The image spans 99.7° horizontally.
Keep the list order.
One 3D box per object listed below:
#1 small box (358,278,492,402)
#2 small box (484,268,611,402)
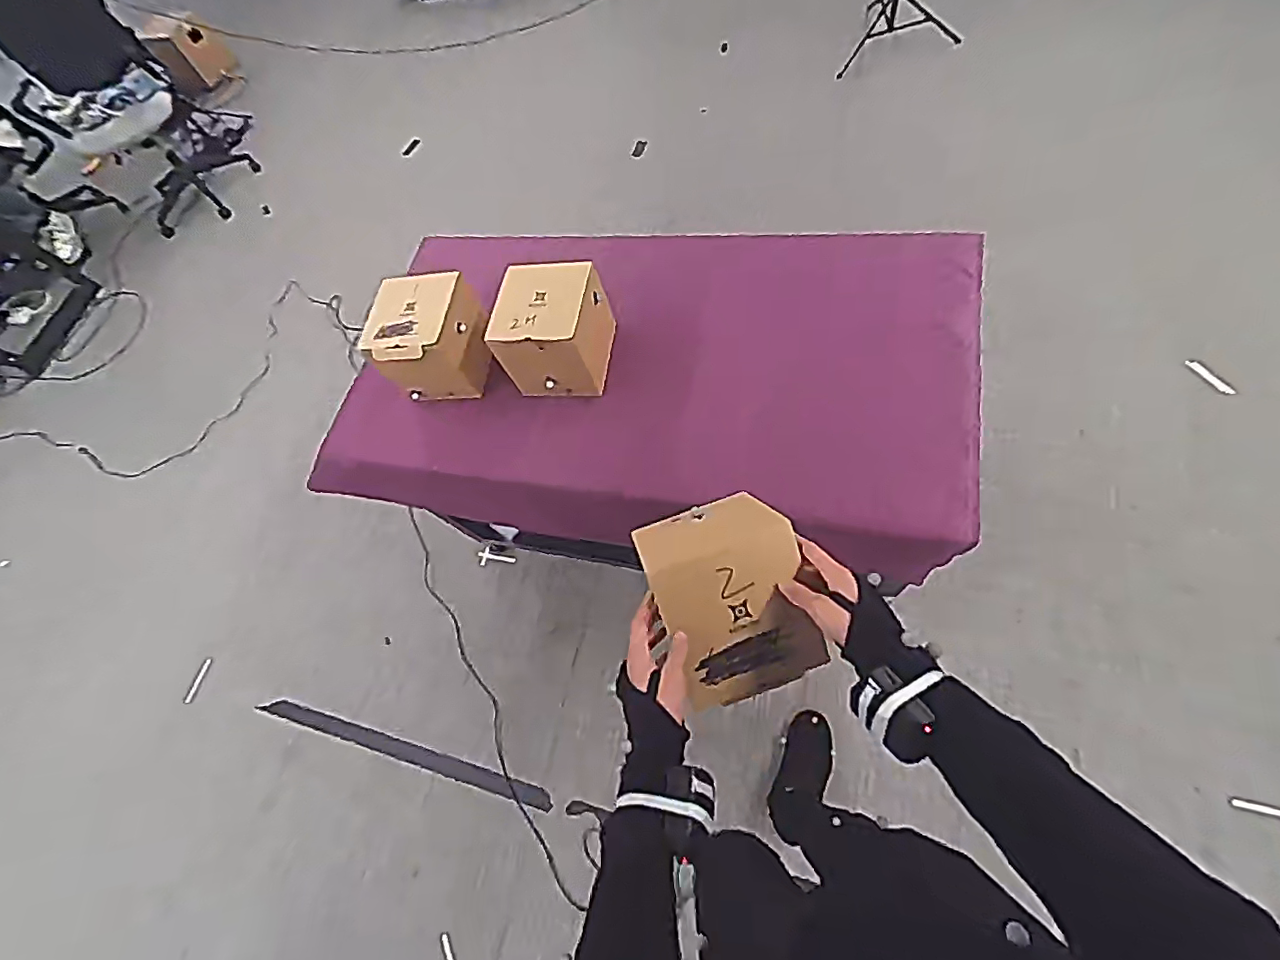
[{"bbox_3d":[-0.411,-0.266,1.069,0.168,0.176,0.179,-1,65,13],"label":"small box"},{"bbox_3d":[-0.161,-0.266,1.009,0.168,0.176,0.179,2,66,15],"label":"small box"}]
